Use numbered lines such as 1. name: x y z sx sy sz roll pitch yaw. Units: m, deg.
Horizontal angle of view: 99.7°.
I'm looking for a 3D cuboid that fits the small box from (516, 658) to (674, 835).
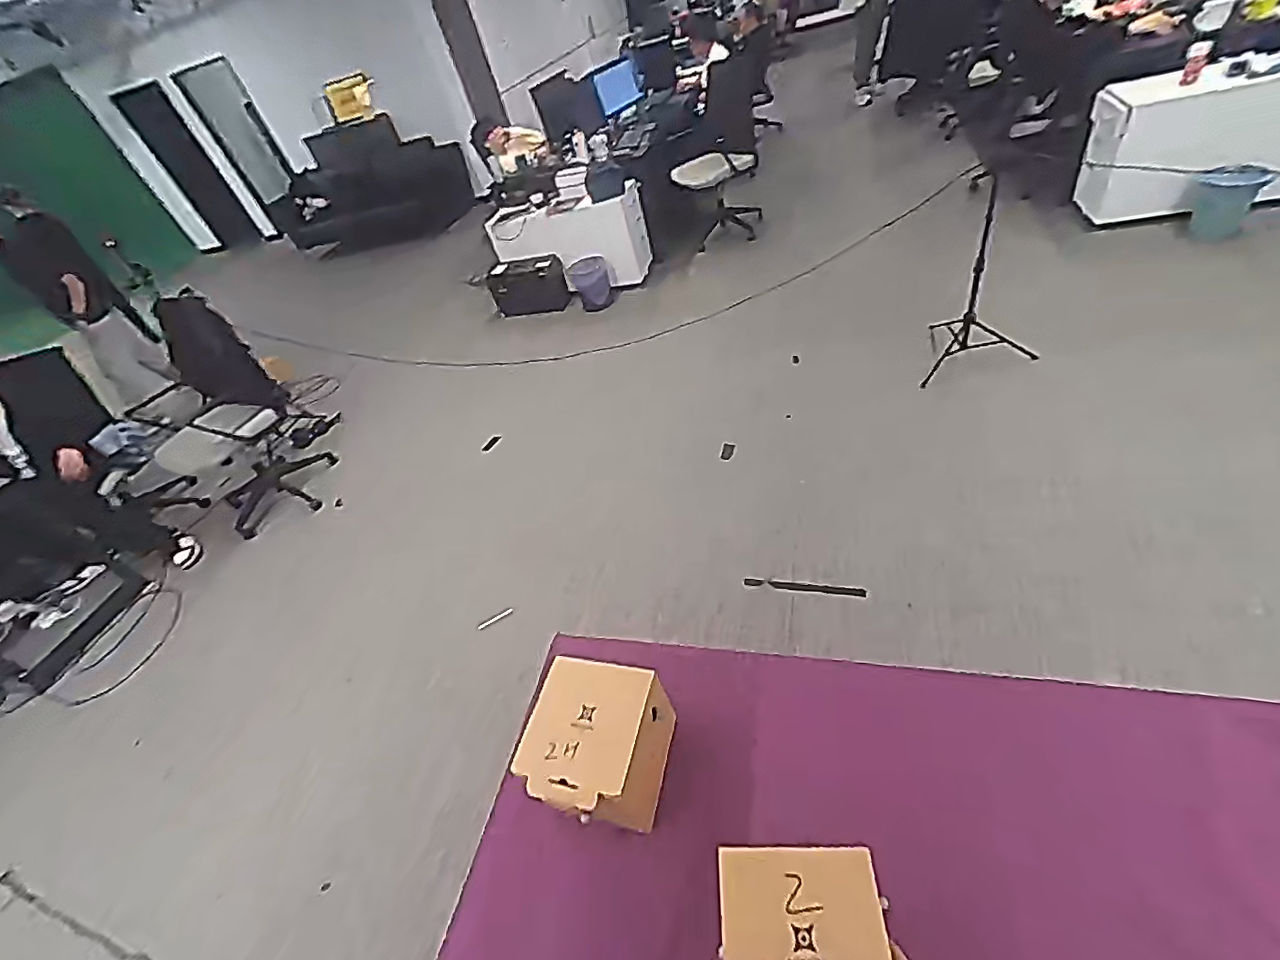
1. small box: -0.053 0.397 0.813 0.168 0.176 0.179 1 46 21
